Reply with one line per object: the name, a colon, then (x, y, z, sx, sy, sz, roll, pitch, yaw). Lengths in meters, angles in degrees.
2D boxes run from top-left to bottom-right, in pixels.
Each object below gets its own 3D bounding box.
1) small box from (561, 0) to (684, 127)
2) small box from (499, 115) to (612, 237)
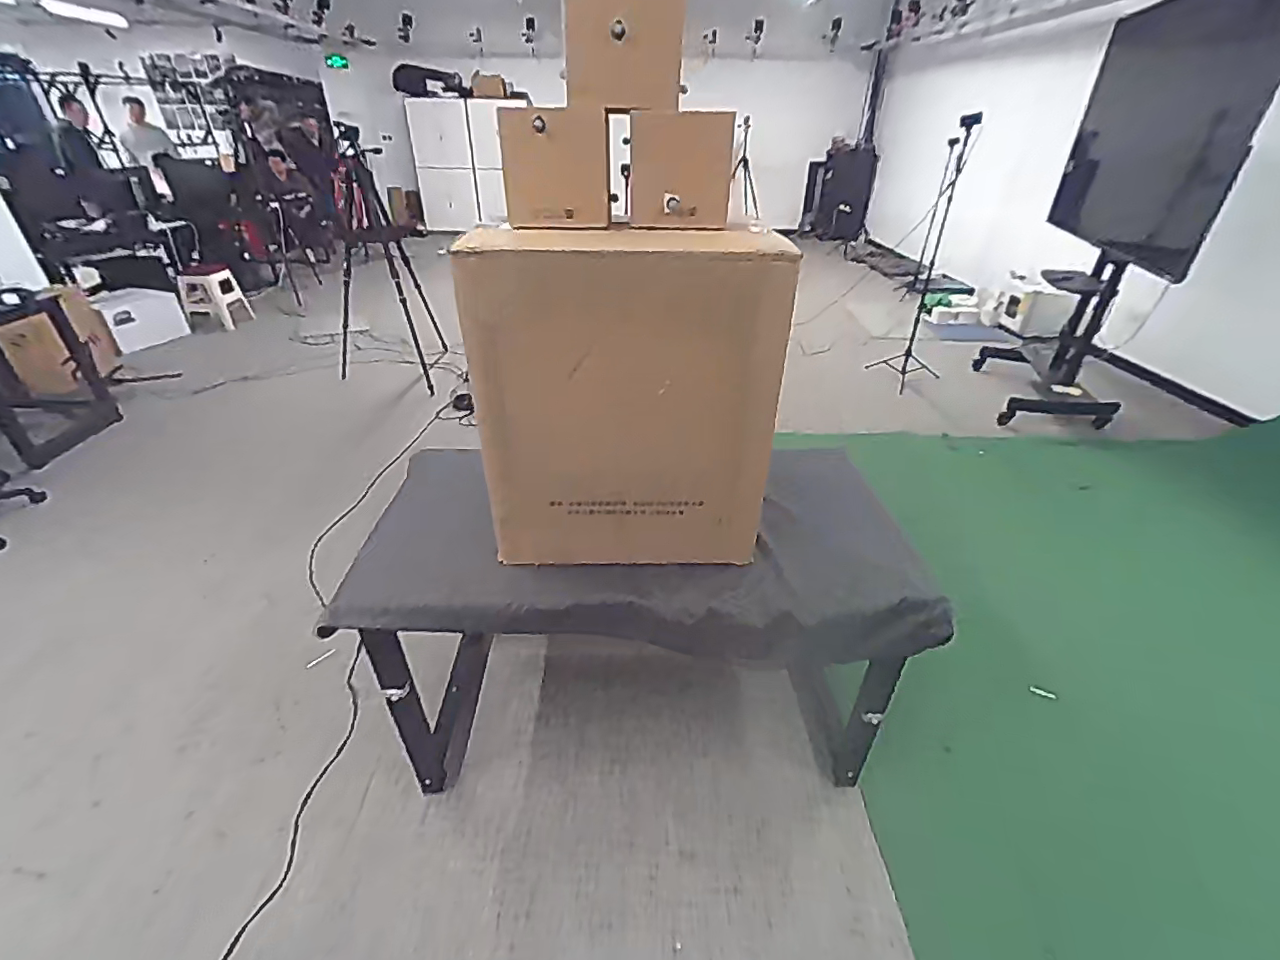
small box: (-0.028, -0.671, 0.869, 0.179, 0.176, 0.168, 0, 30, -2)
small box: (-0.136, -0.525, 0.939, 0.168, 0.176, 0.179, -1, 30, 0)
